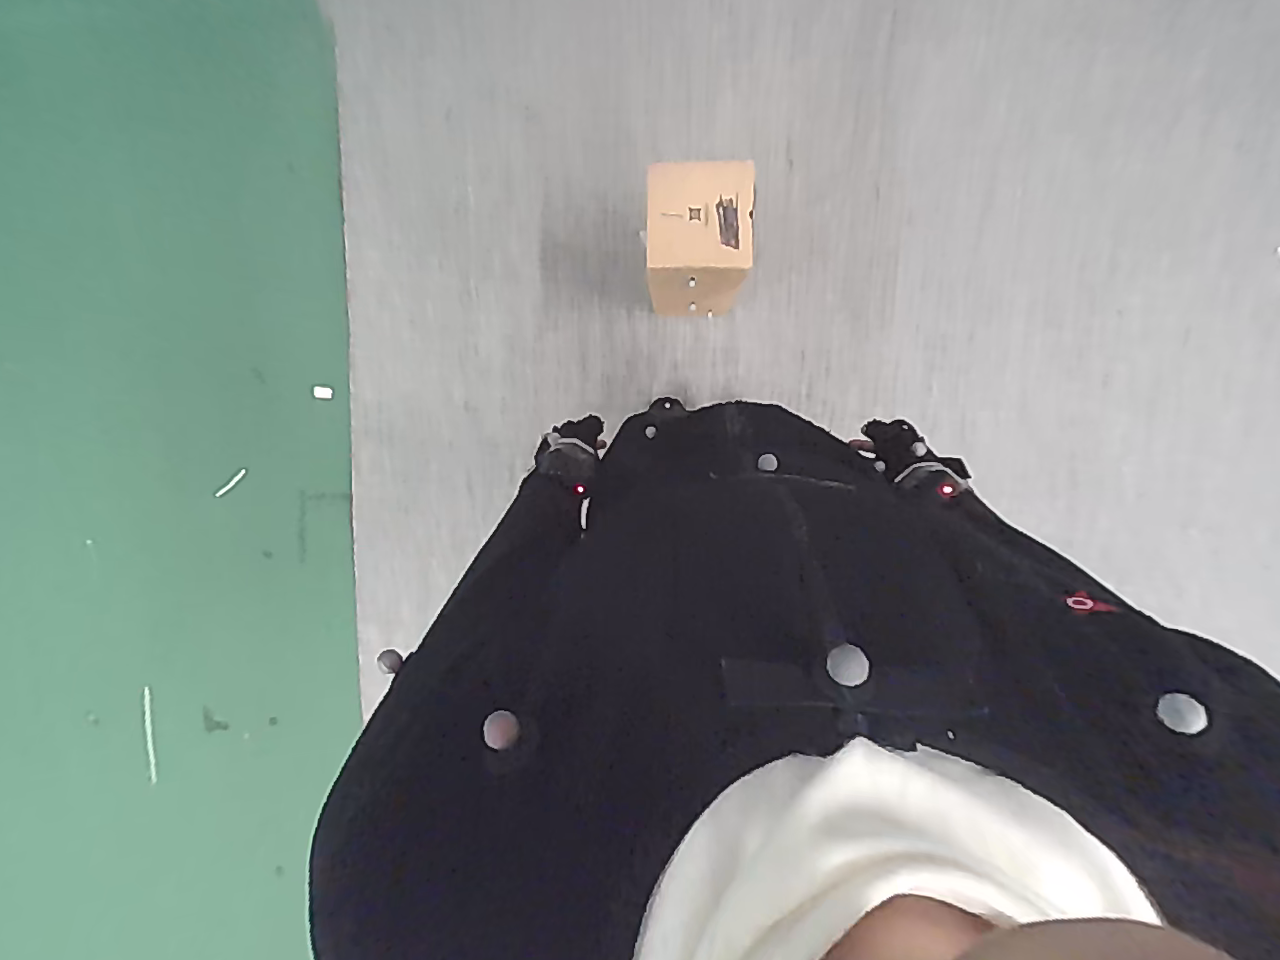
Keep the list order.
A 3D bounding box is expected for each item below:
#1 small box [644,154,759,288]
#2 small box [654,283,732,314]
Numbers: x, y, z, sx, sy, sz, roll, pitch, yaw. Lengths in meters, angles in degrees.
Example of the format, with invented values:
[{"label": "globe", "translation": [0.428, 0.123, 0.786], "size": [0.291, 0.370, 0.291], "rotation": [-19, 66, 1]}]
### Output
[{"label": "small box", "translation": [0.101, -0.445, 0.953], "size": [0.179, 0.176, 0.168], "rotation": [4, 96, 2]}, {"label": "small box", "translation": [0.125, -0.492, 1.280], "size": [0.179, 0.176, 0.168], "rotation": [2, 98, 5]}]
